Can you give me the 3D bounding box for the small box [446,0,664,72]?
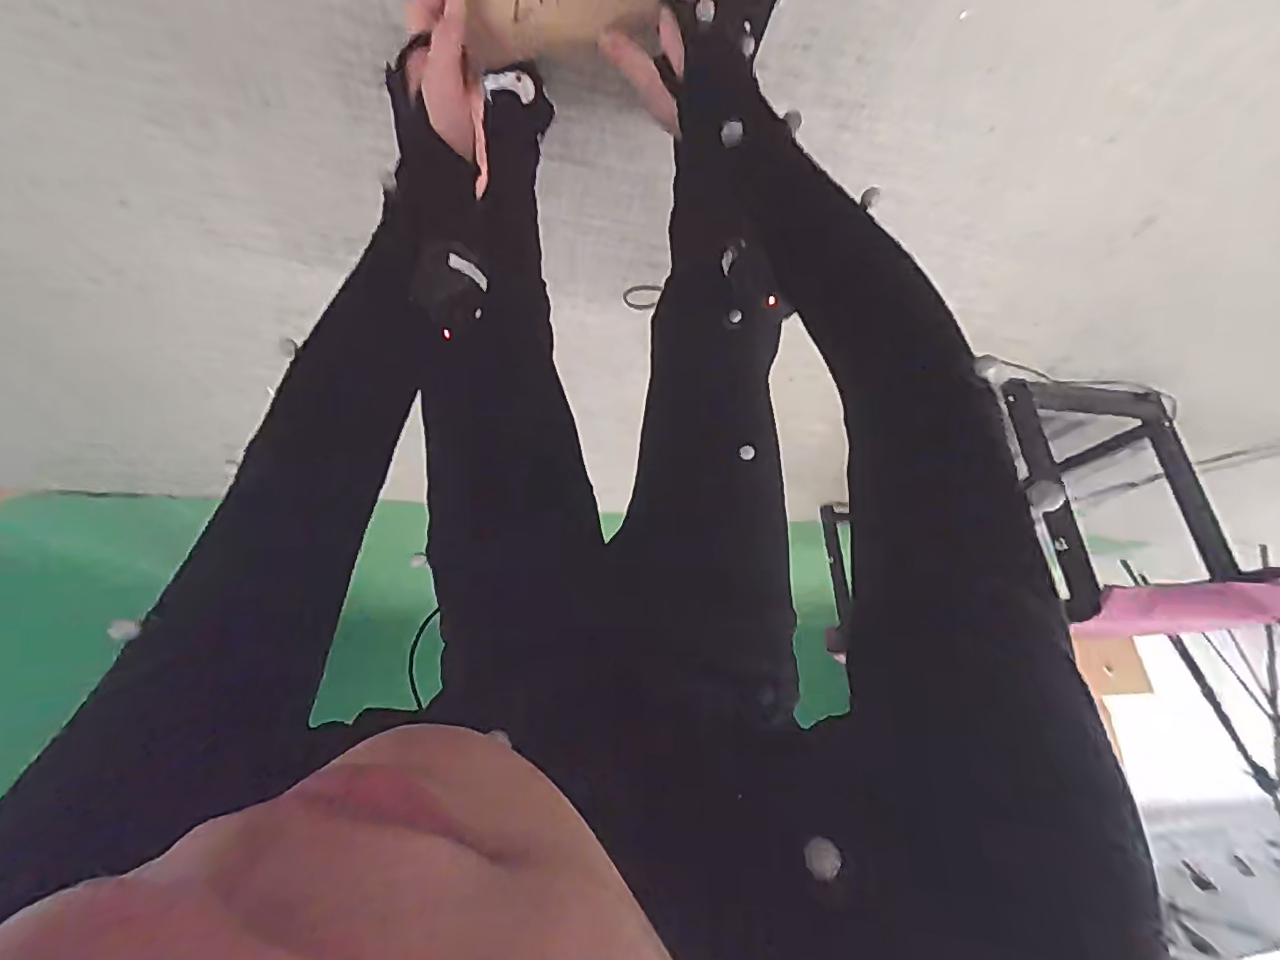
[{"bbox_3d":[-0.074,-0.461,0.431,0.168,0.176,0.179,-6,137,8],"label":"small box"}]
